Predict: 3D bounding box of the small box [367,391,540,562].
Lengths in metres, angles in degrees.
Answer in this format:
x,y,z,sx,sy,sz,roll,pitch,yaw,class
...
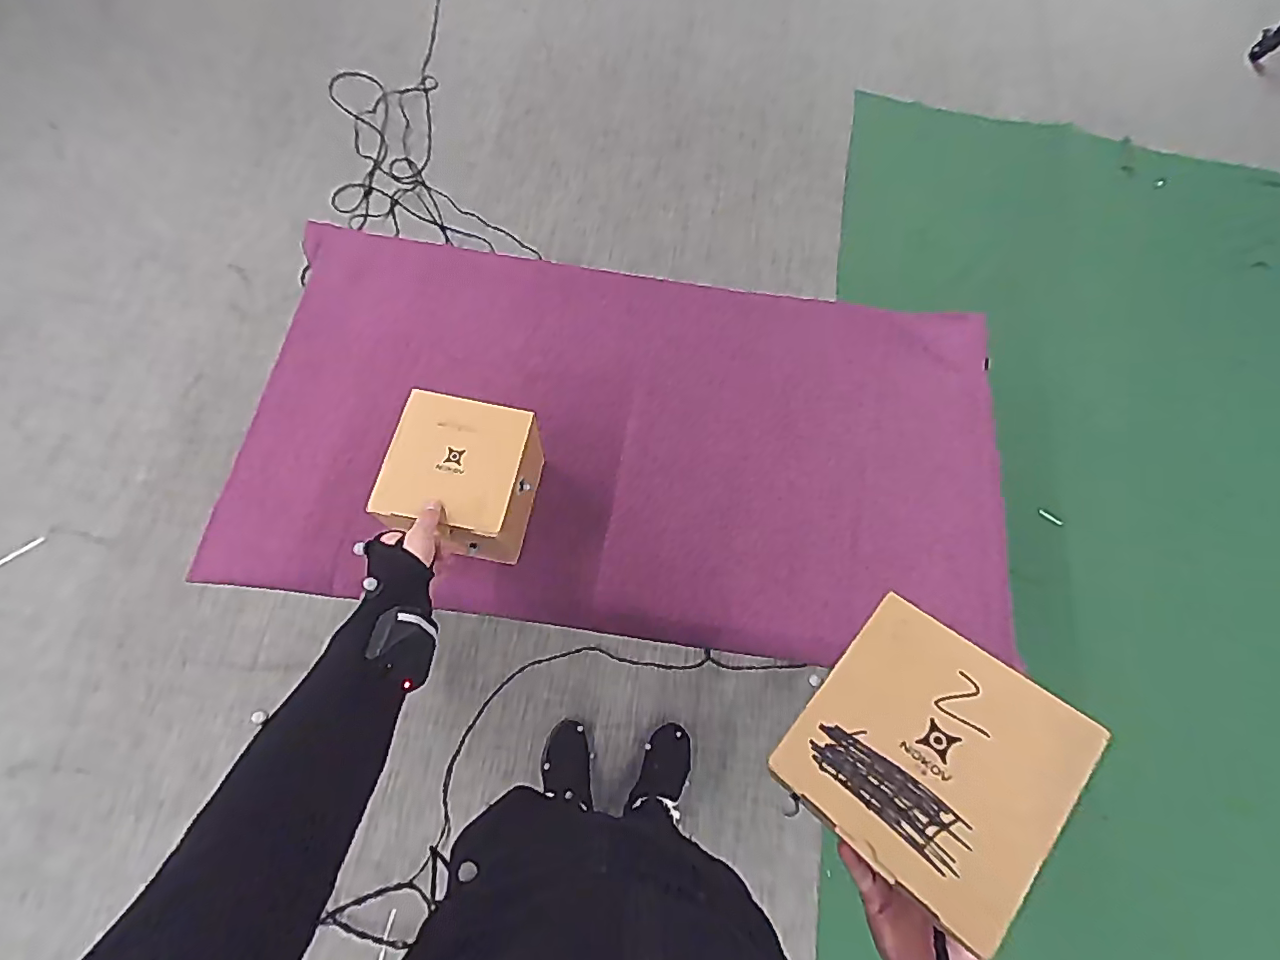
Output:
x,y,z,sx,sy,sz,roll,pitch,yaw,class
-0.244,0.005,0.762,0.168,0.176,0.179,12,68,0,small box
